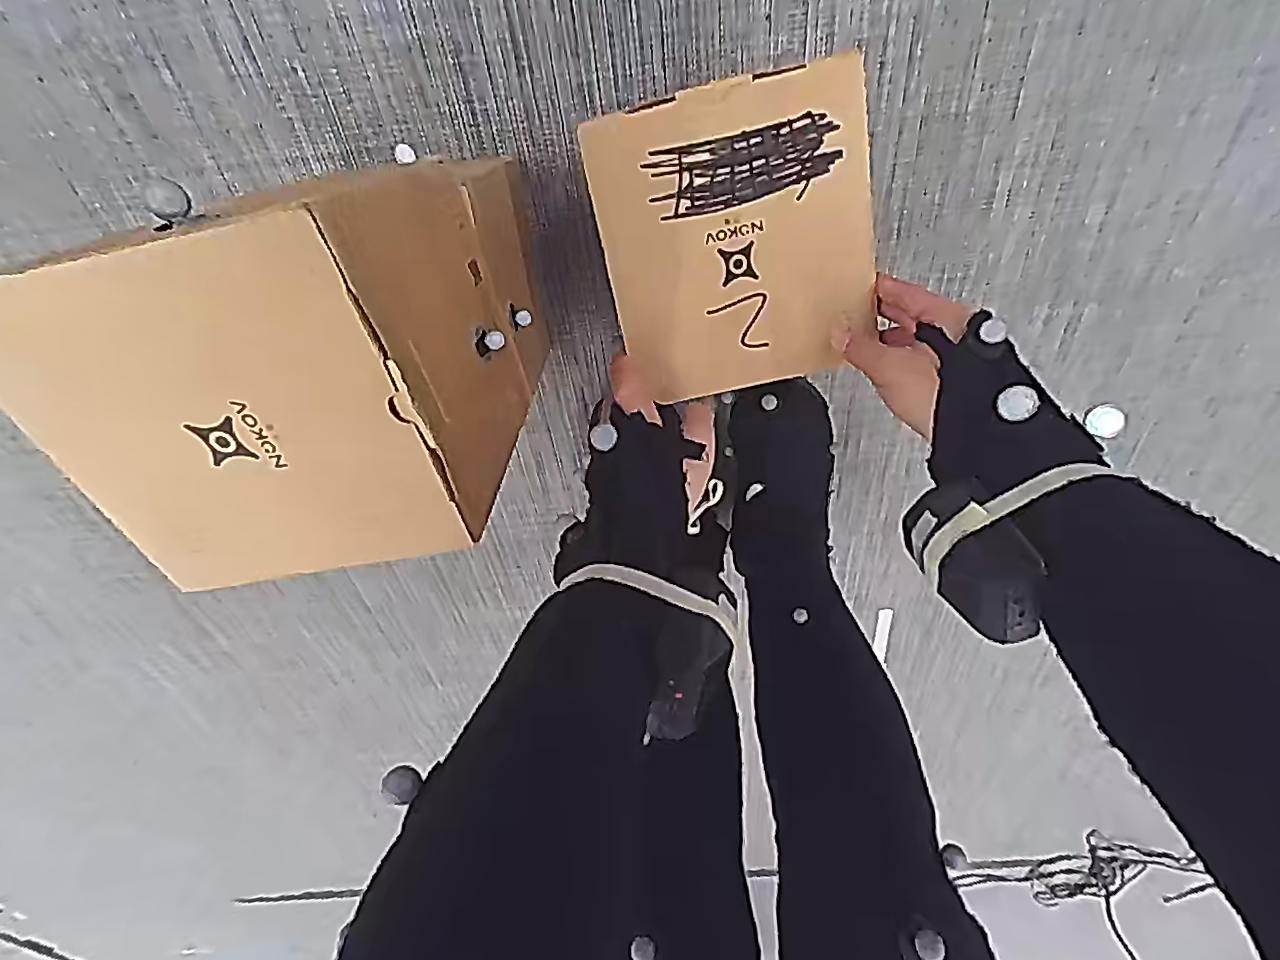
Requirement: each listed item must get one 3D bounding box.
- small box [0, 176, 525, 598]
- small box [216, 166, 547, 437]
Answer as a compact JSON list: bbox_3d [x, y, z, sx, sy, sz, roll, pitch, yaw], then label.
[{"bbox_3d":[-0.183,-0.060,0.311,0.179,0.176,0.168,-10,124,6],"label":"small box"},{"bbox_3d":[-0.180,-0.147,0.449,0.168,0.176,0.179,-4,124,2],"label":"small box"}]
